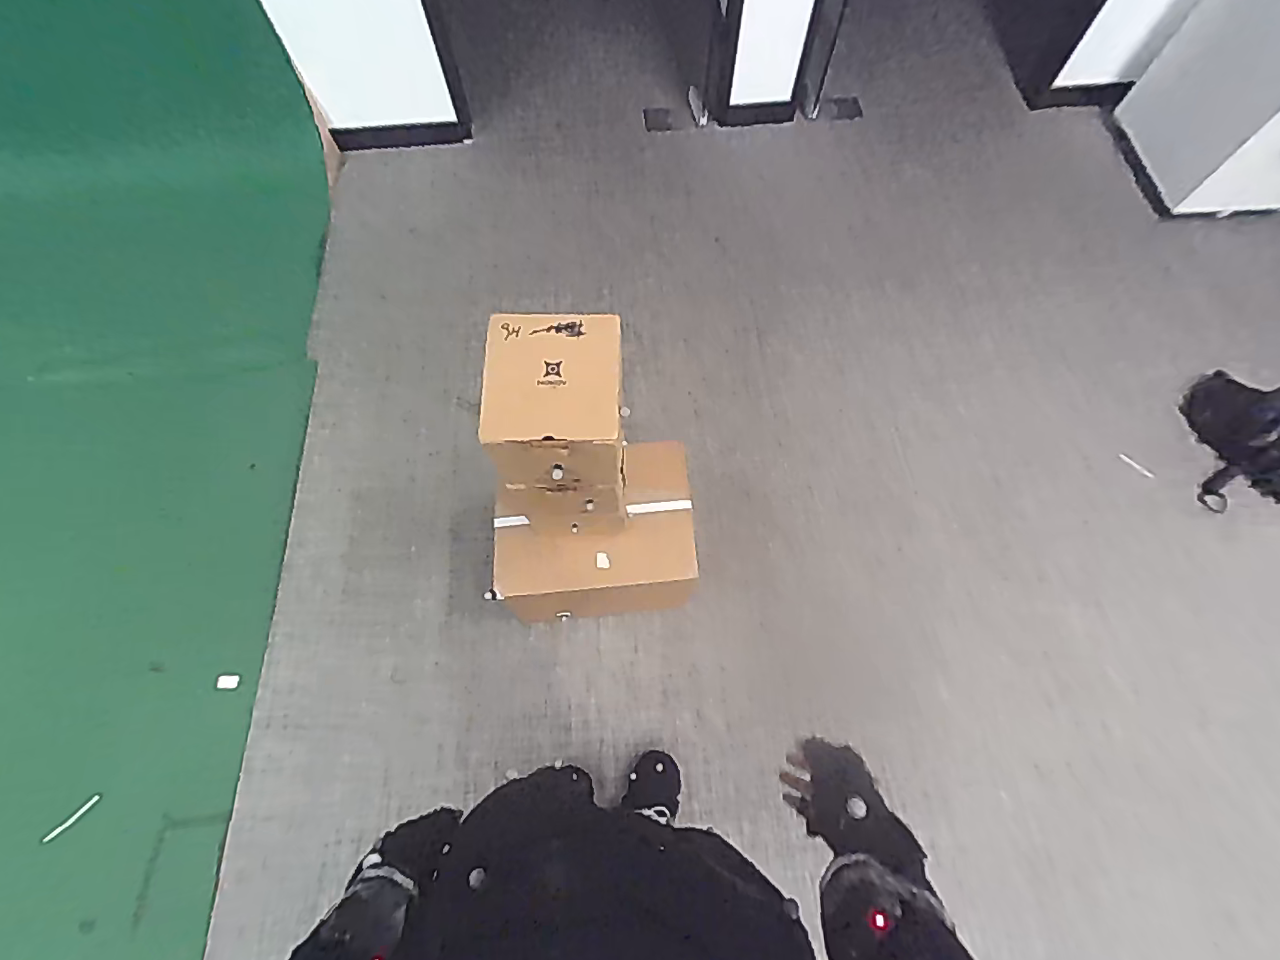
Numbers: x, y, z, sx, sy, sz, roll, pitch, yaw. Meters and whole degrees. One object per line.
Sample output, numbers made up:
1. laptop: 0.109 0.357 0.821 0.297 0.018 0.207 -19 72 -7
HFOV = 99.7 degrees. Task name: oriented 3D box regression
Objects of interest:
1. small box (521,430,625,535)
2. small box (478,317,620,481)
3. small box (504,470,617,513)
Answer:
1. small box: -0.120 0.006 1.043 0.179 0.176 0.168 2 71 0
2. small box: -0.112 -0.100 0.739 0.168 0.176 0.179 0 73 -2
3. small box: -0.123 -0.045 0.893 0.168 0.176 0.179 -2 71 -3
